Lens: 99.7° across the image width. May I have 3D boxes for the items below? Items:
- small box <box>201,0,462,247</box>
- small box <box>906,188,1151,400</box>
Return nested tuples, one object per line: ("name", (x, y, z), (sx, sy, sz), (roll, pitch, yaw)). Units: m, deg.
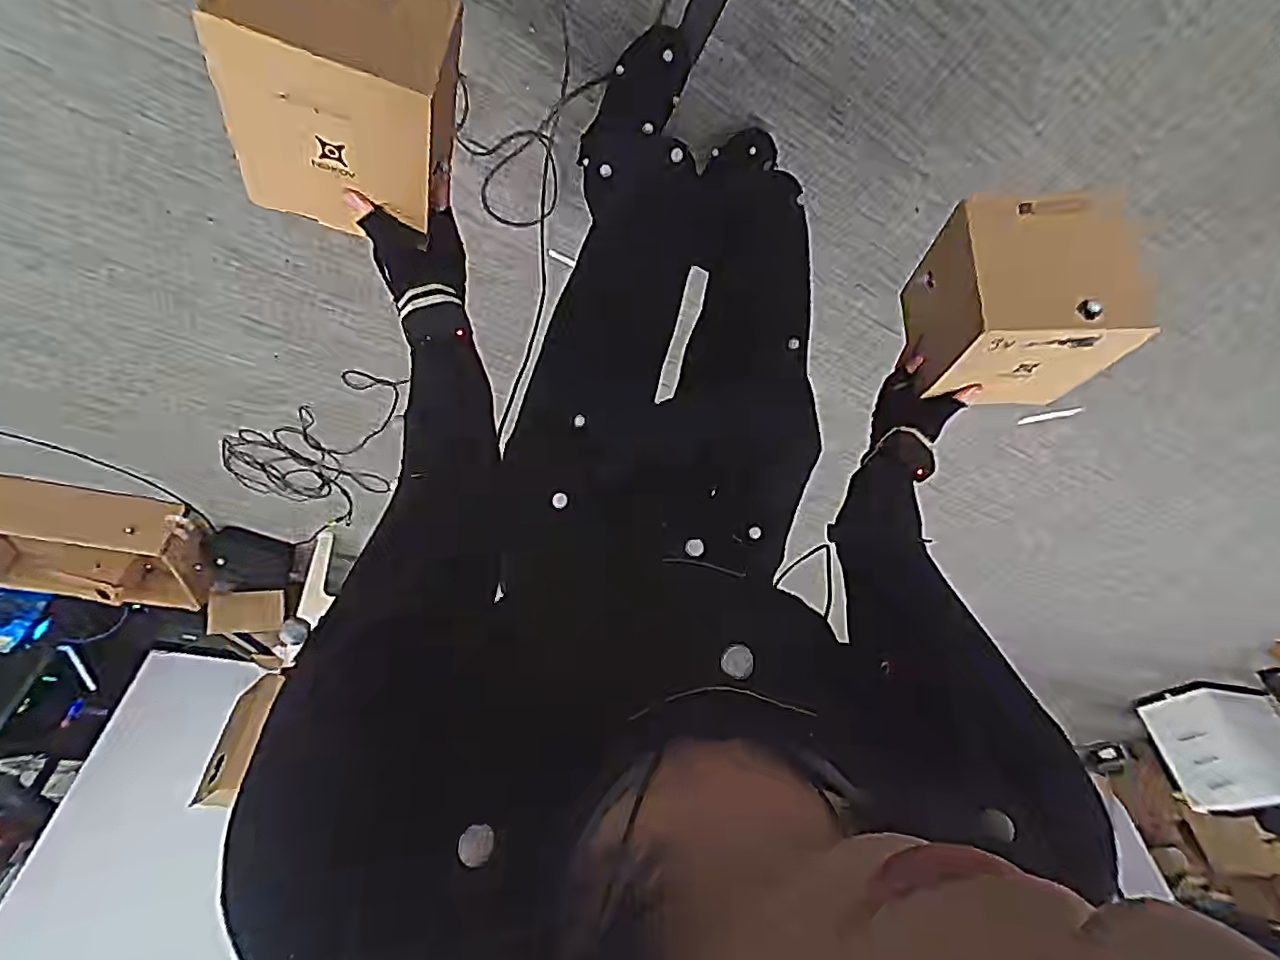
("small box", (-0.273, -0.373, 0.526), (0.168, 0.176, 0.179), (10, 153, -17))
("small box", (0.428, -0.206, 0.631), (0.168, 0.176, 0.179), (1, 164, 4))
